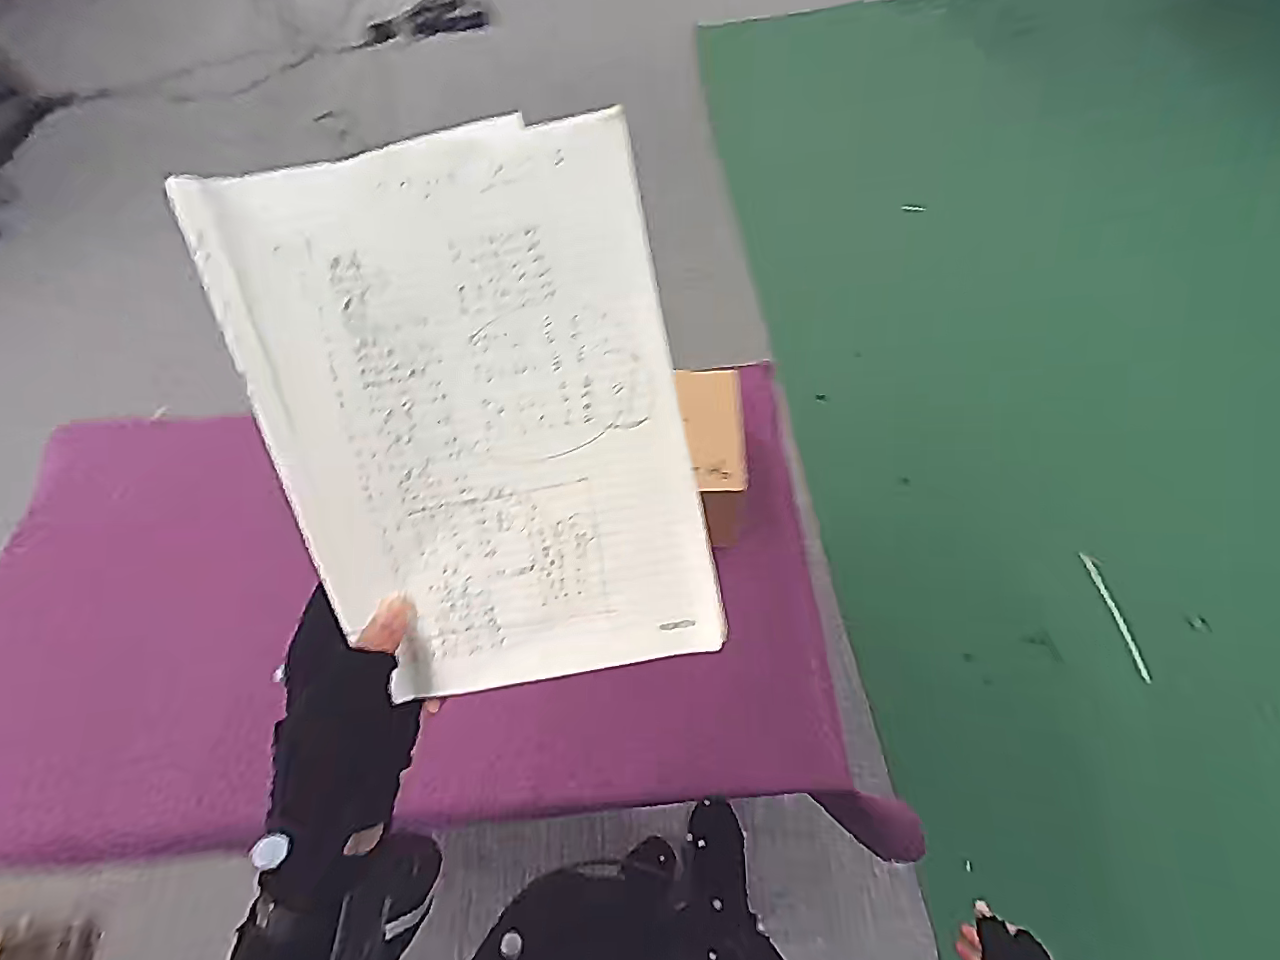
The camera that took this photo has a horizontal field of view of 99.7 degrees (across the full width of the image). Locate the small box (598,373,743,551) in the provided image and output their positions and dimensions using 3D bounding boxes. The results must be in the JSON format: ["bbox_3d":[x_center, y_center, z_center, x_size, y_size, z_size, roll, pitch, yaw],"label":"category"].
[{"bbox_3d":[0.043,-0.019,0.712,0.168,0.176,0.179,-1,60,5],"label":"small box"}]
